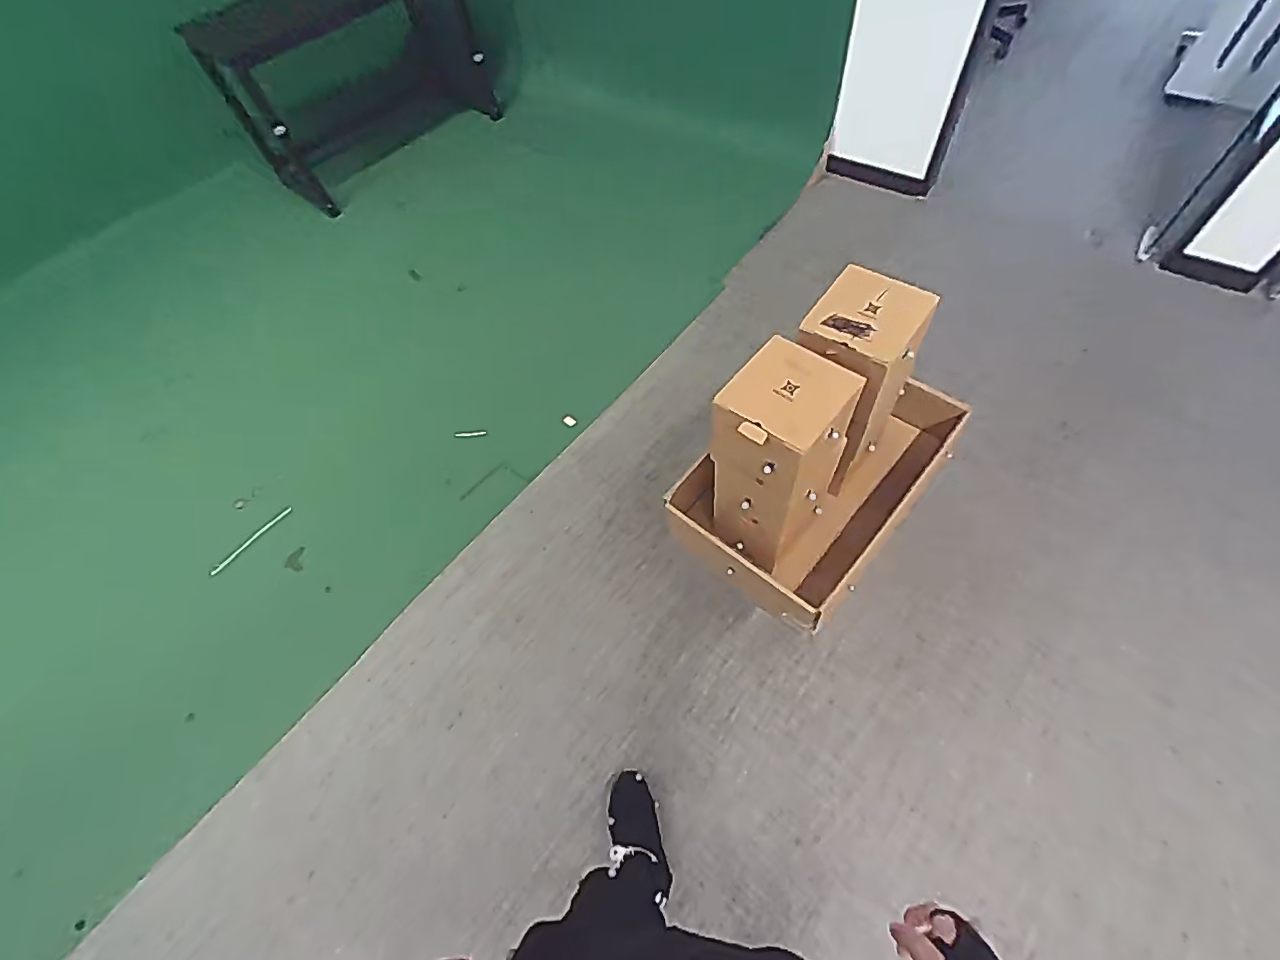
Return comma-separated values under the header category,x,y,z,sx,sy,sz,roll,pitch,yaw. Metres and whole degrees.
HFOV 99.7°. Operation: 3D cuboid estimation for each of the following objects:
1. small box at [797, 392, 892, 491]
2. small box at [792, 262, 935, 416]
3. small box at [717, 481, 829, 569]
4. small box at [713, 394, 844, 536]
category,x,y,z,sx,sy,sz,roll,pitch,yaw
small box,0.448,-0.108,1.260,0.168,0.176,0.179,34,72,24
small box,0.387,-0.246,0.967,0.168,0.176,0.179,32,71,23
small box,0.279,0.061,1.177,0.168,0.176,0.179,36,69,25
small box,0.260,-0.023,1.038,0.168,0.176,0.179,36,70,24
